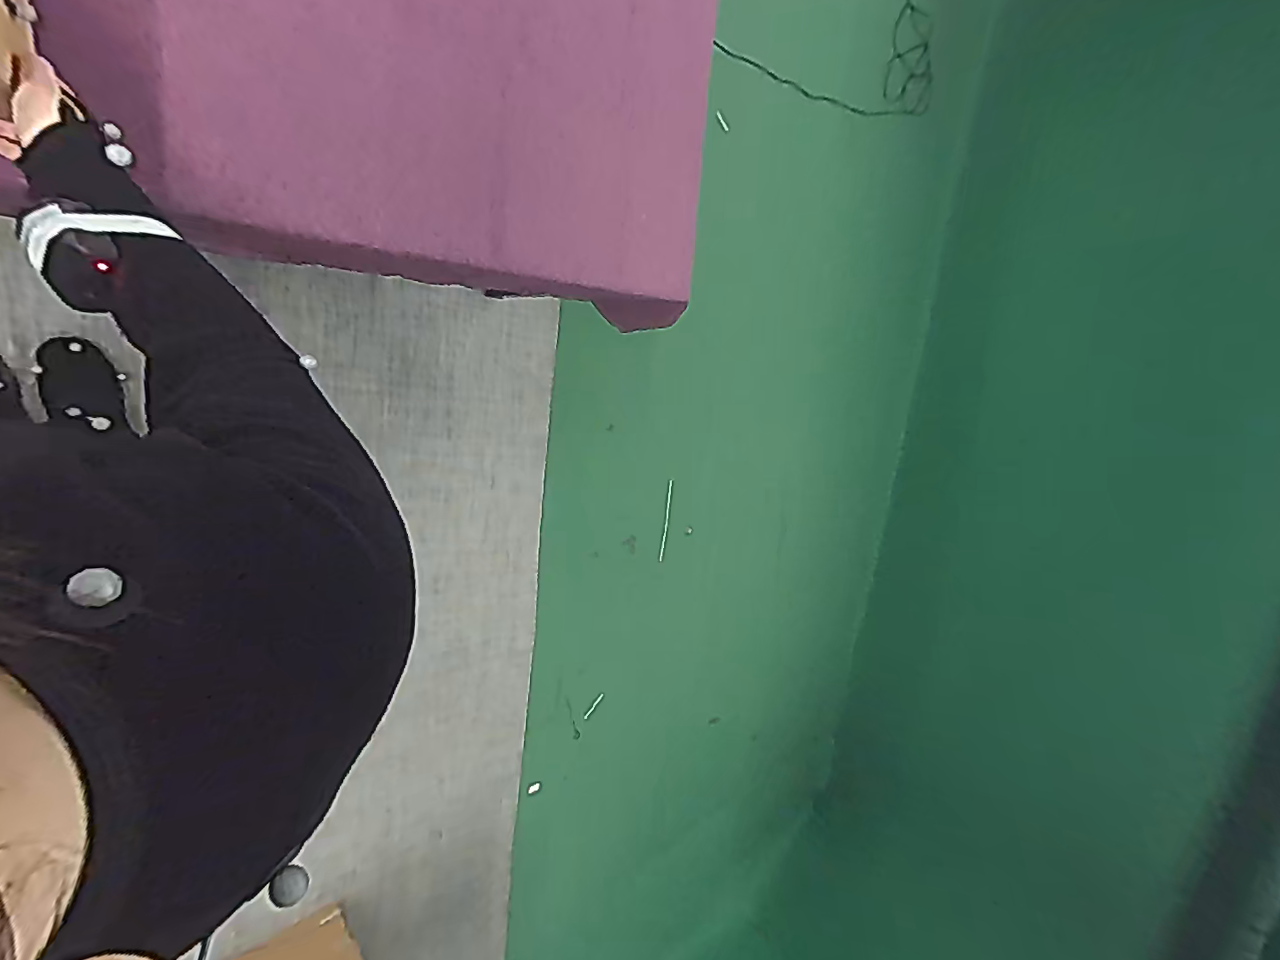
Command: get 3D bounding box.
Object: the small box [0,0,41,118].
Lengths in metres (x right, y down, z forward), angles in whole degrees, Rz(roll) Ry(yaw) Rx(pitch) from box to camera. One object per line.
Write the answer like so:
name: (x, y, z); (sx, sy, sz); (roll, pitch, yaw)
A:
small box: (-0.536, -0.365, 0.342); (0.179, 0.176, 0.168); (-6, 105, -38)
